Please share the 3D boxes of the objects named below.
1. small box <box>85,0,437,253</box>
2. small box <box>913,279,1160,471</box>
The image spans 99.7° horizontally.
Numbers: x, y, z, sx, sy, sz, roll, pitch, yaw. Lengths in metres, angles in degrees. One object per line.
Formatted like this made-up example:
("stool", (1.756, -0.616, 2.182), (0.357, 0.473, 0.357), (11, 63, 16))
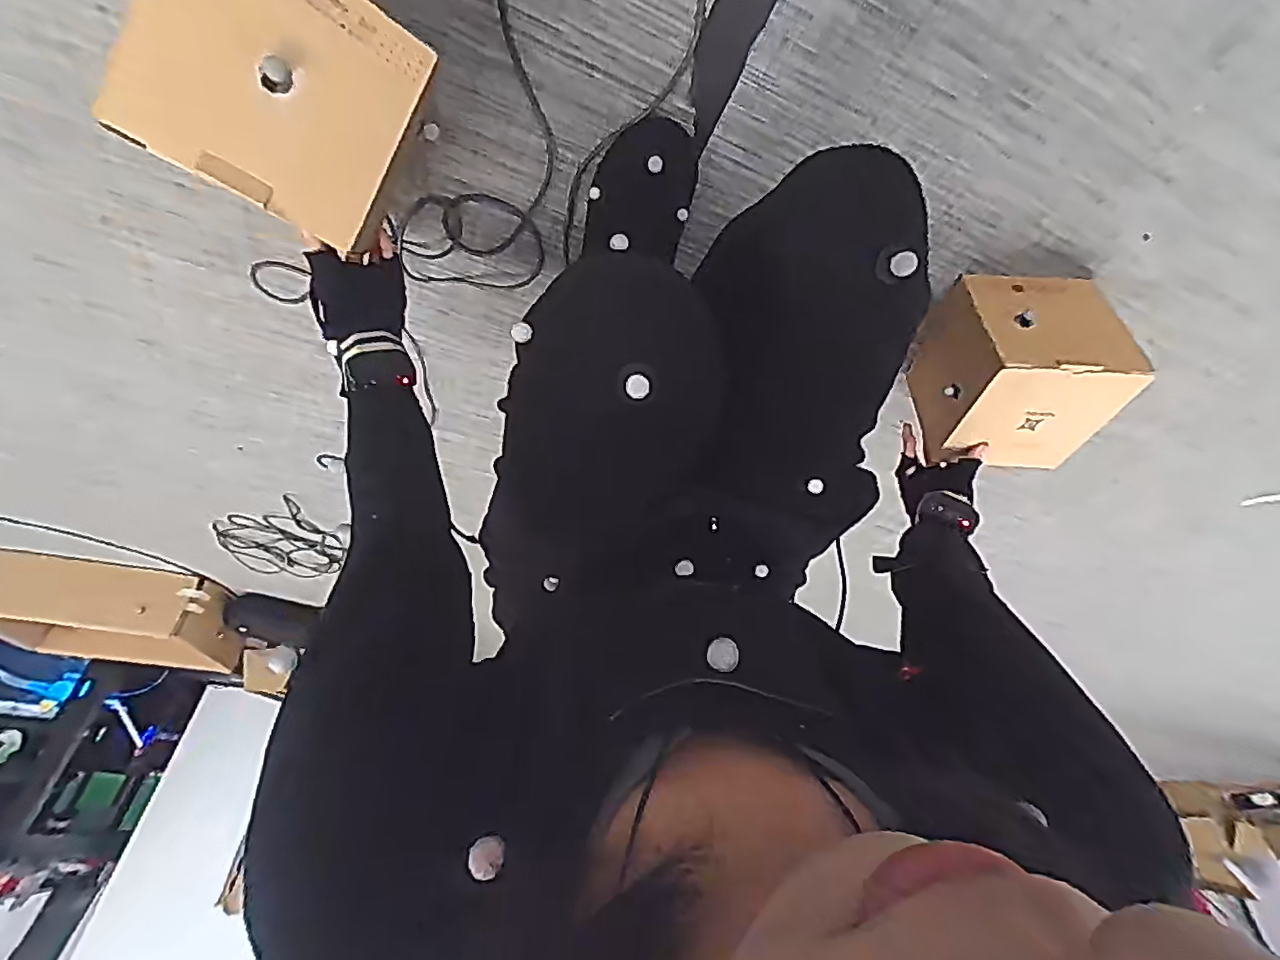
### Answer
("small box", (-0.280, -0.309, 0.439), (0.168, 0.179, 0.176), (26, 99, -28))
("small box", (0.473, -0.133, 0.686), (0.168, 0.176, 0.179), (4, 146, 2))
